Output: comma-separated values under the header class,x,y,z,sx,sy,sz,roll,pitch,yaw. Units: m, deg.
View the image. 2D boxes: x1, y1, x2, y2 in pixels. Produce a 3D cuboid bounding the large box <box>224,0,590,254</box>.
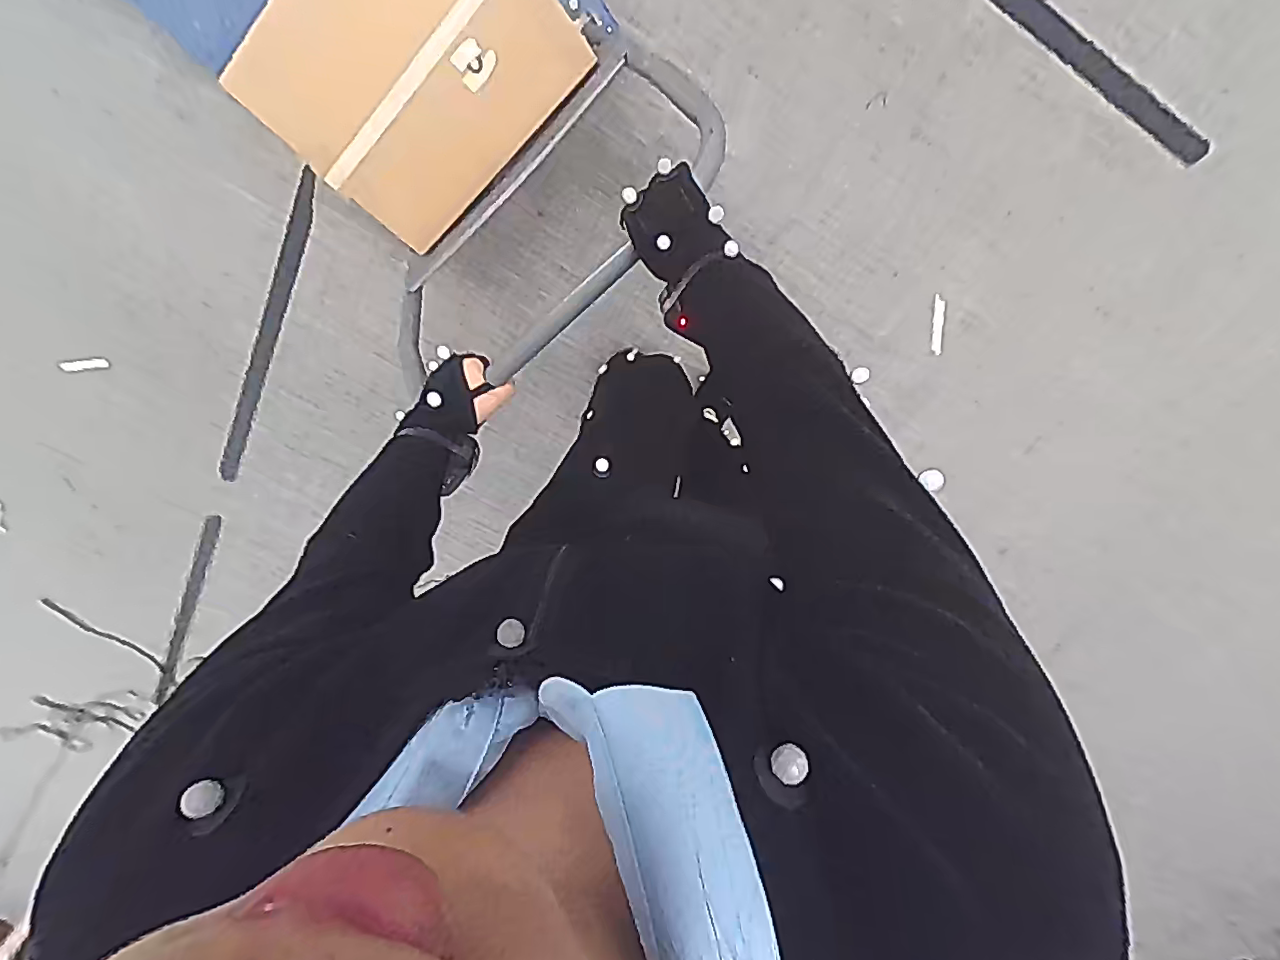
class,x,y,z,sx,sy,sz,roll,pitch,yaw
large box,-0.341,-0.654,0.850,0.408,0.320,0.320,-38,130,17
